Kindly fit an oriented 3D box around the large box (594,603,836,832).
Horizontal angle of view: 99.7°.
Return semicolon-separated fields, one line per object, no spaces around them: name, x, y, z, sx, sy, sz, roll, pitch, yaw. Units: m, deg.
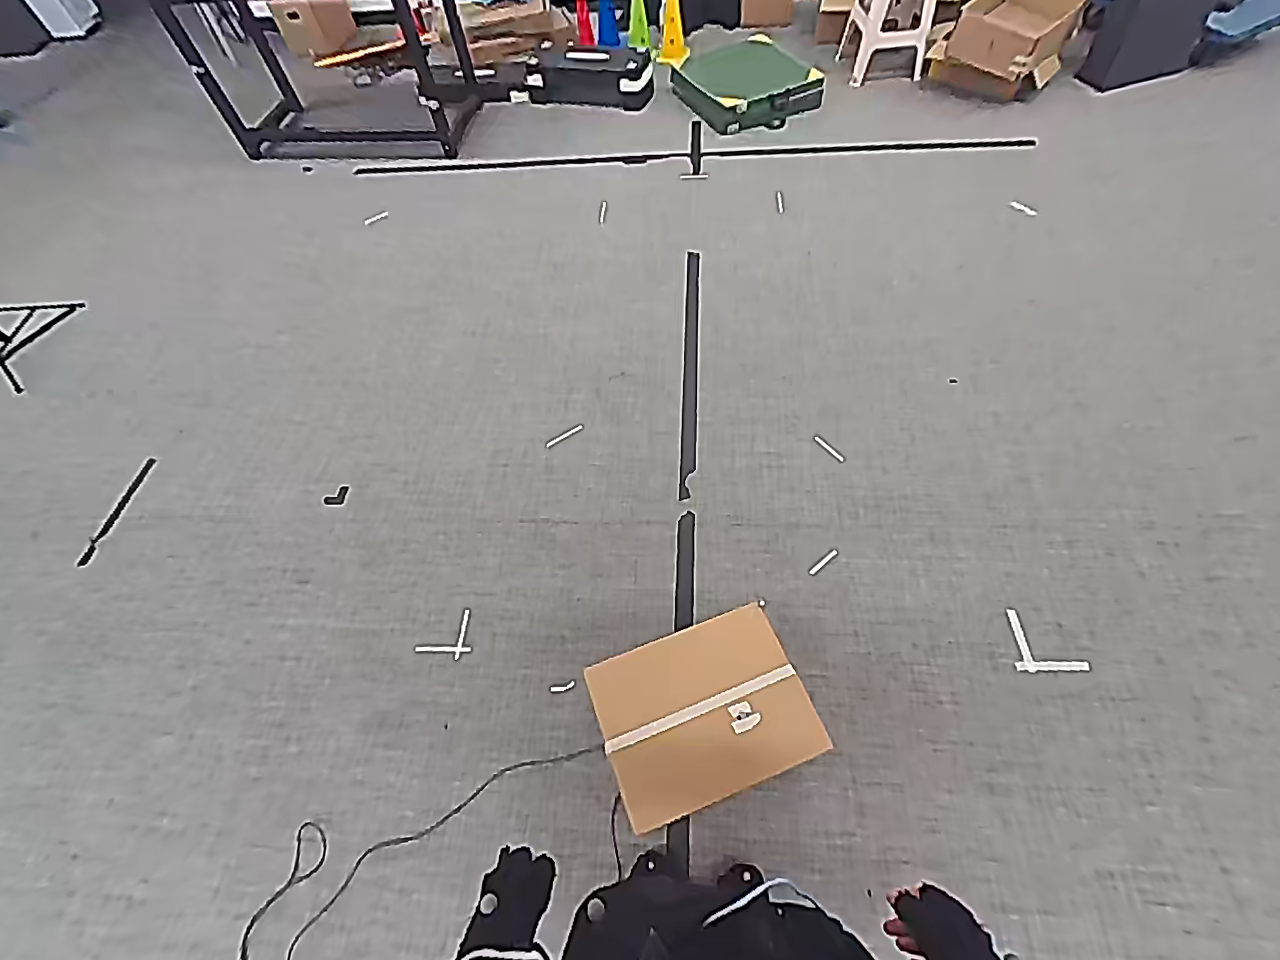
large box;0.145;0.532;1.200;0.408;0.320;0.320;-18;59;-9
